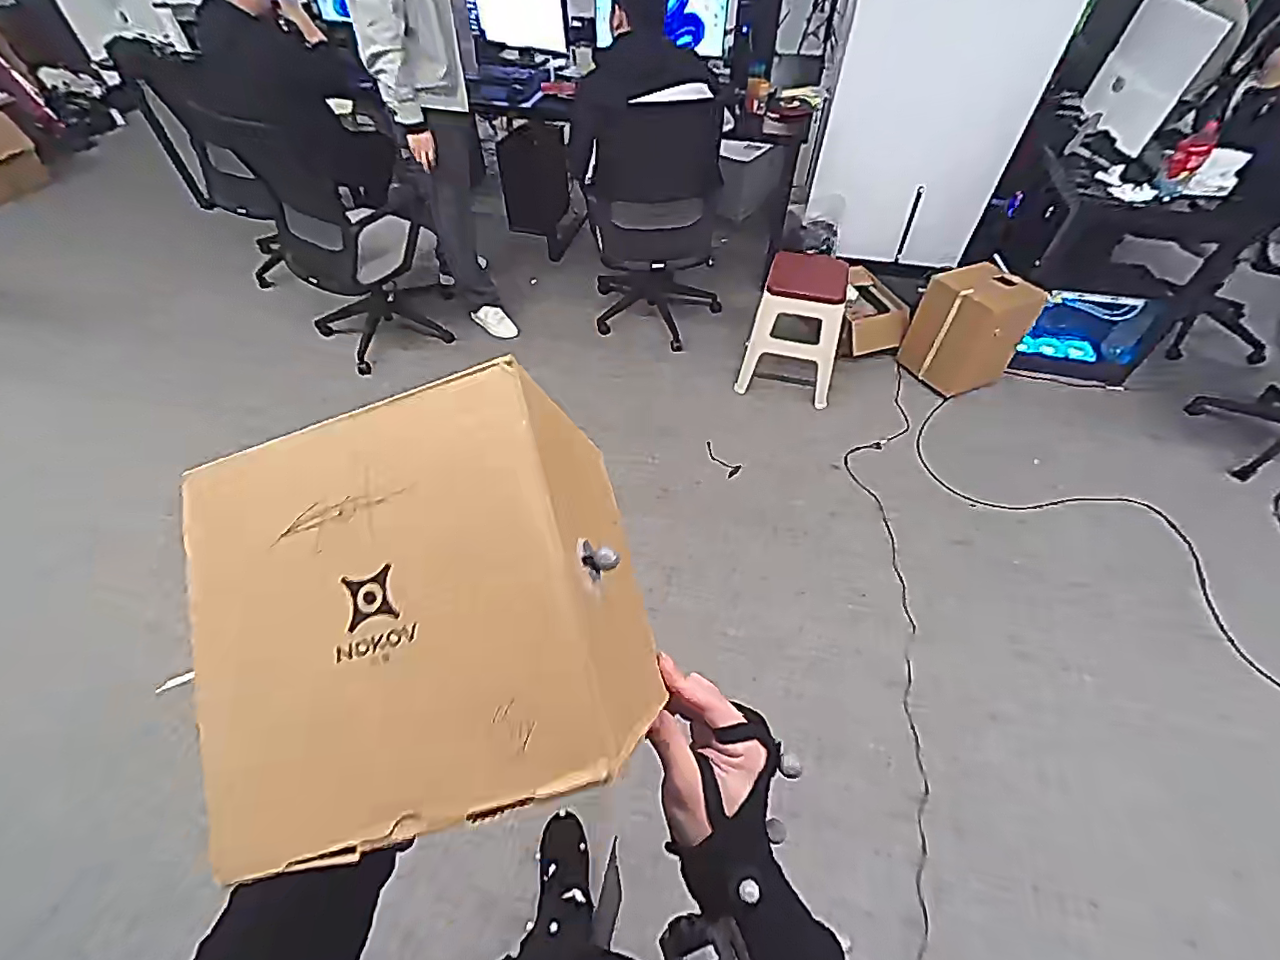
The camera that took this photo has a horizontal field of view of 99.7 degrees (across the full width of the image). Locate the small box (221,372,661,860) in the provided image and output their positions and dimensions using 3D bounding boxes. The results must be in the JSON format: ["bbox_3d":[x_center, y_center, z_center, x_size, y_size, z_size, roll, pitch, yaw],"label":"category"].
[{"bbox_3d":[-0.093,0.071,0.313,0.168,0.176,0.179,-18,73,3],"label":"small box"}]
